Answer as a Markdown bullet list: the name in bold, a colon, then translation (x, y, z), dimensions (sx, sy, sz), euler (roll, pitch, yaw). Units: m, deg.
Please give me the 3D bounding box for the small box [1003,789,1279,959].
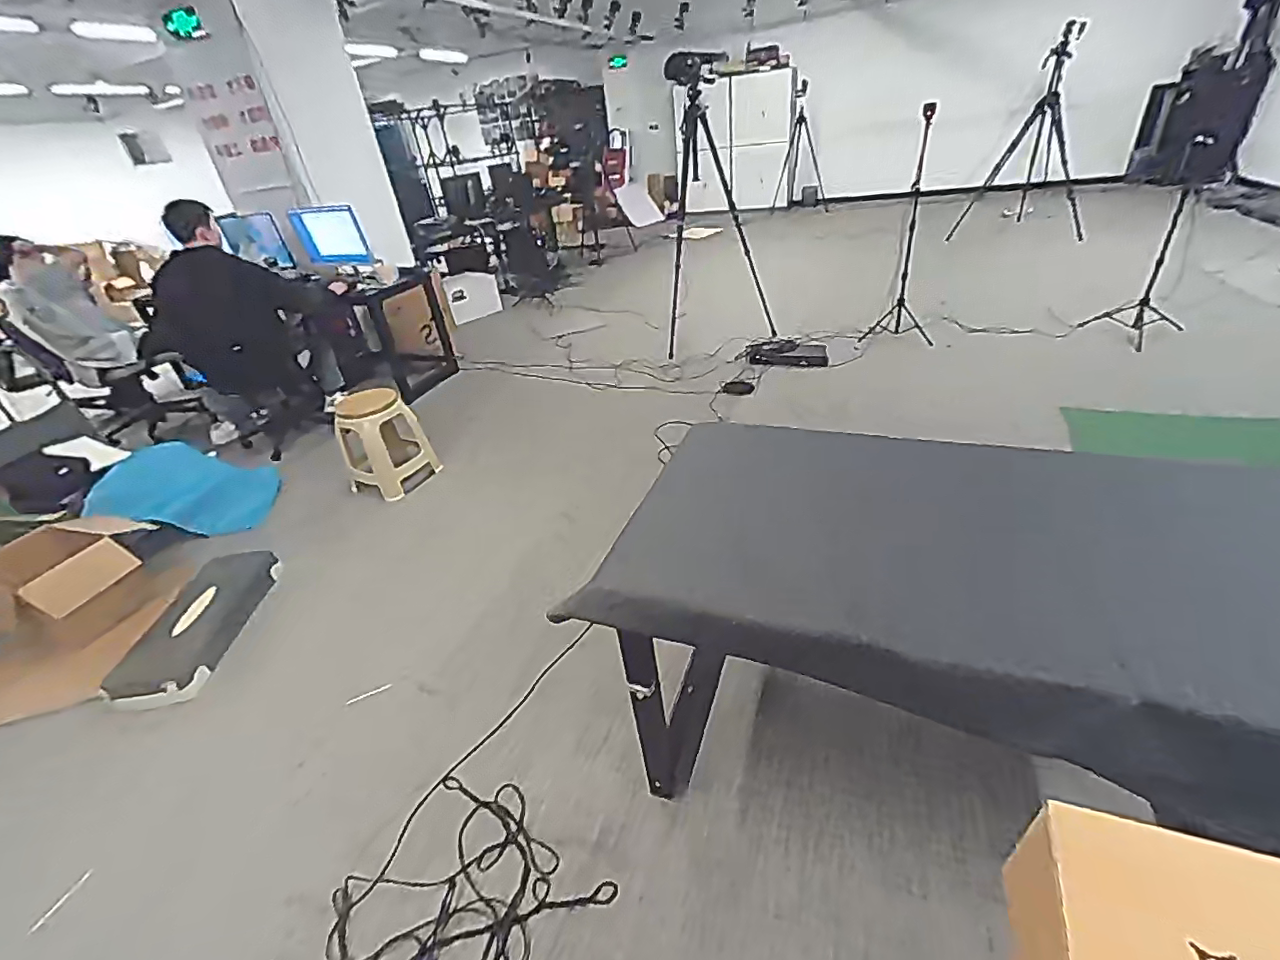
- **small box**: translation (0.387, 0.373, 0.399), dimensions (0.168, 0.176, 0.179), euler (5, 44, 23)
